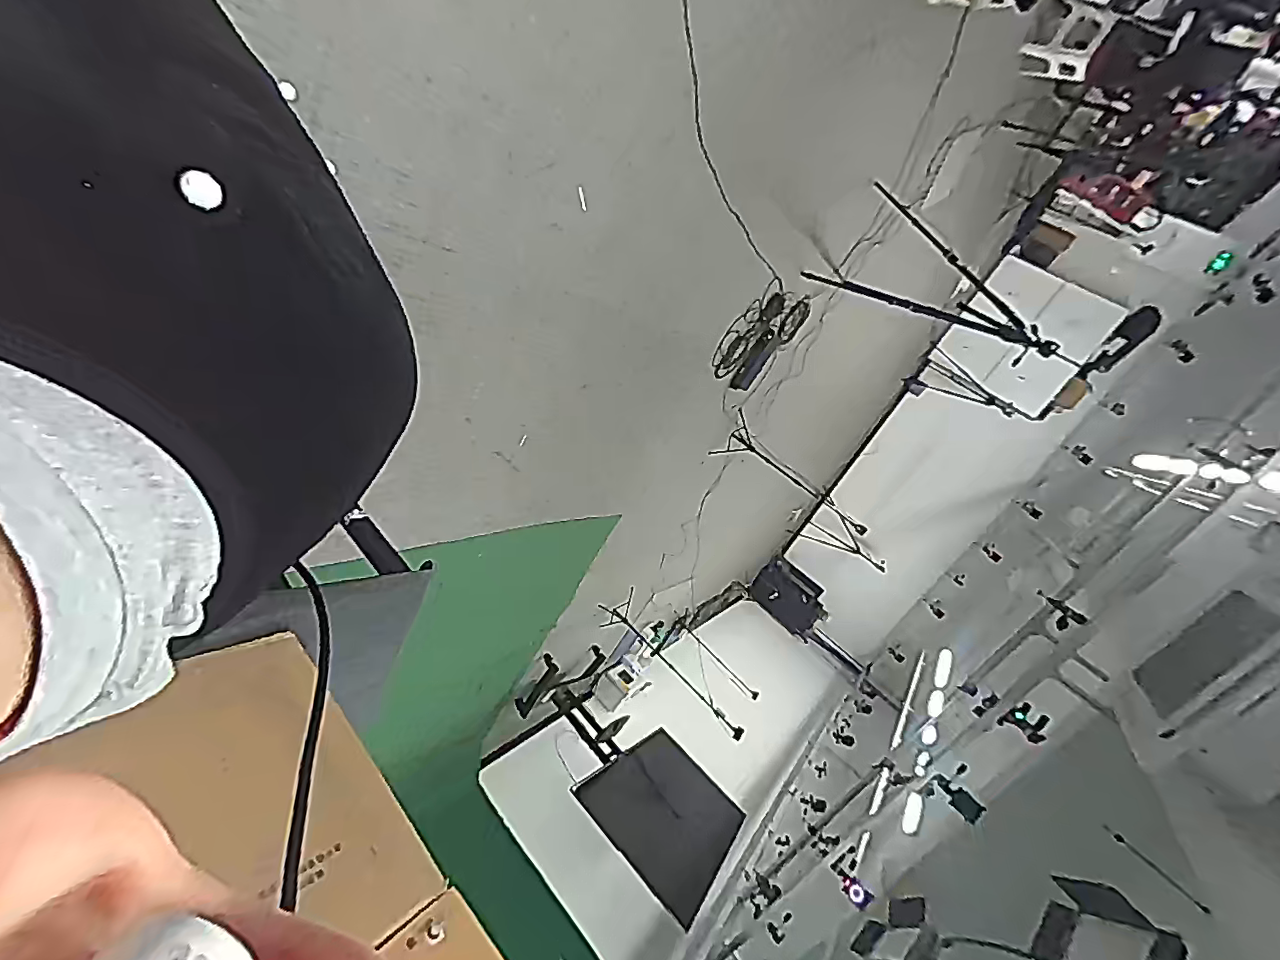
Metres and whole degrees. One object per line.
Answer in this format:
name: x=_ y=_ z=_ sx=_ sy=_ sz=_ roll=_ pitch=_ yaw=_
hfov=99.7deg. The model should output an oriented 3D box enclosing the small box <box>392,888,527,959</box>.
small box: x=-0.312 y=0.826 z=0.877 sx=0.168 sy=0.176 sz=0.179 roll=-8 pitch=131 yaw=-61
